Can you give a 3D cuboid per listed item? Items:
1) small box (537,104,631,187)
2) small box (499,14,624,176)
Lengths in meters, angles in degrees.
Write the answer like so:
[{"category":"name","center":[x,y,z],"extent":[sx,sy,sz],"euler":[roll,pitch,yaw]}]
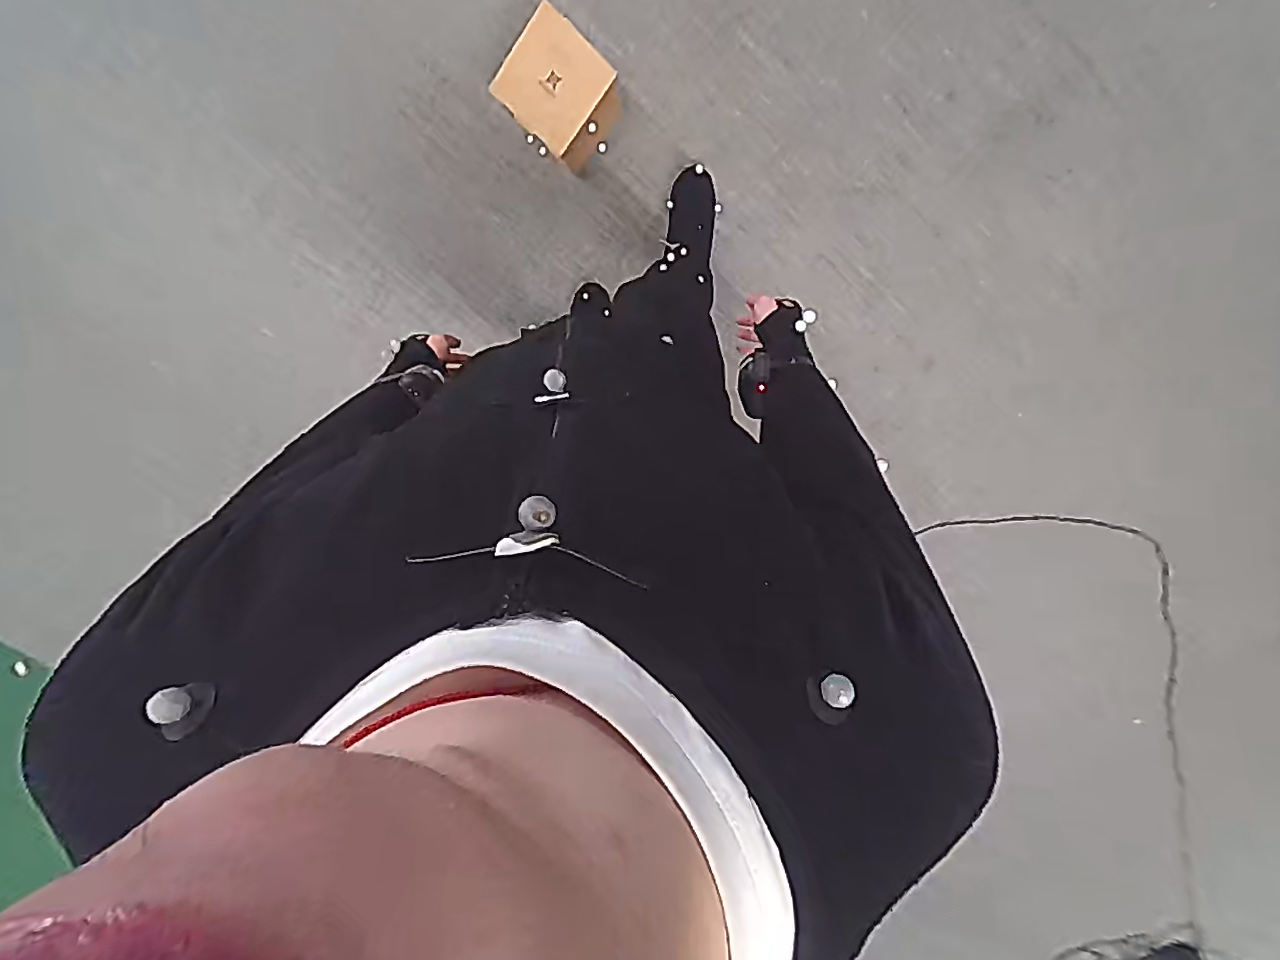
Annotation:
[{"category":"small box","center":[-0.136,-0.787,1.200],"extent":[0.168,0.176,0.179],"euler":[40,107,-14]},{"category":"small box","center":[-0.141,-0.726,1.049],"extent":[0.168,0.176,0.179],"euler":[38,107,-14]}]
